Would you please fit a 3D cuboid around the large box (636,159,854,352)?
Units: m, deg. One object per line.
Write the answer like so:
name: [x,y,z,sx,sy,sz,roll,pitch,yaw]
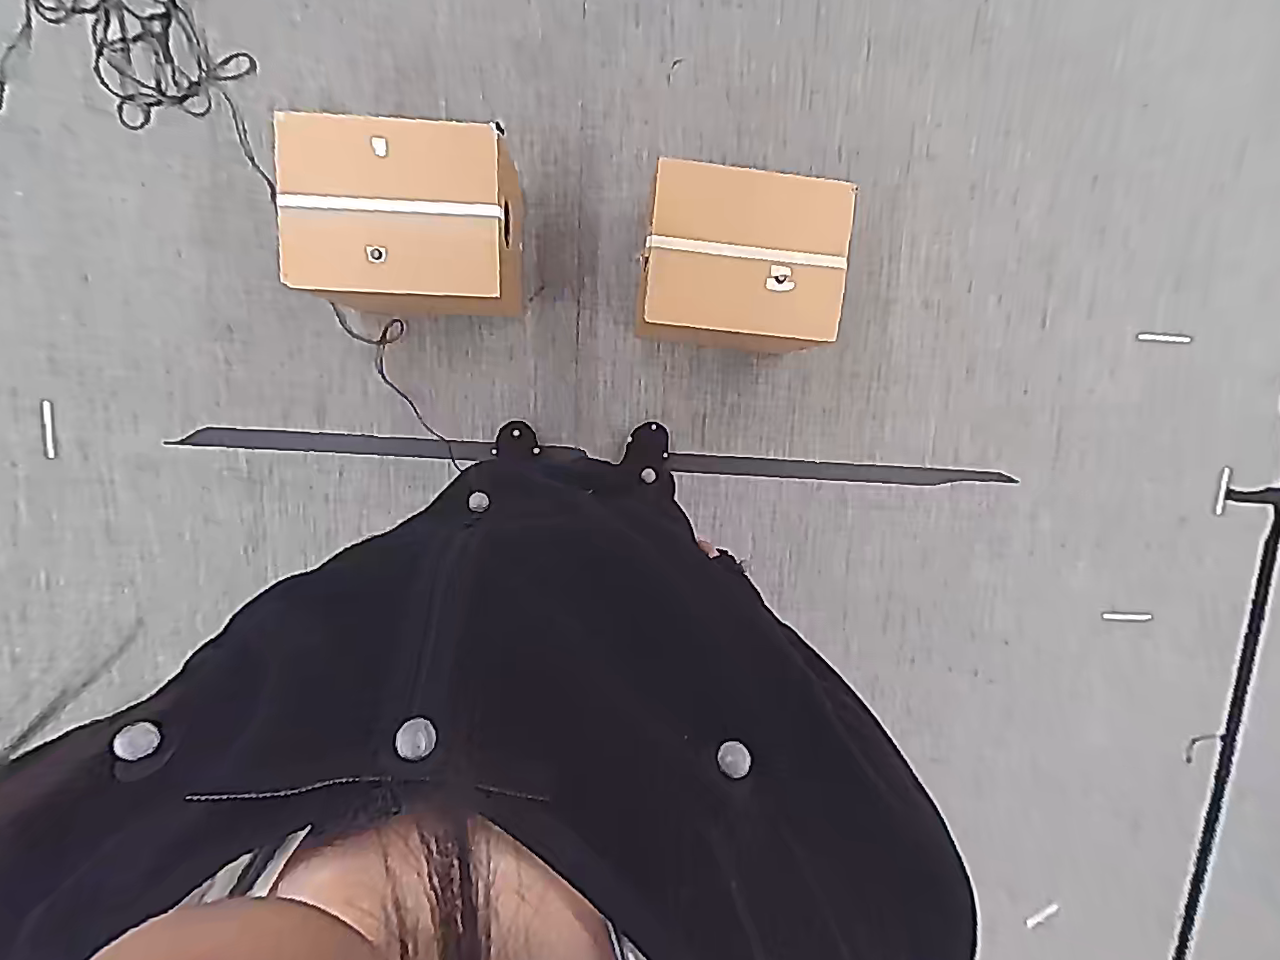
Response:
large box: [0.209,-0.481,1.237,0.408,0.320,0.320,5,98,-6]
